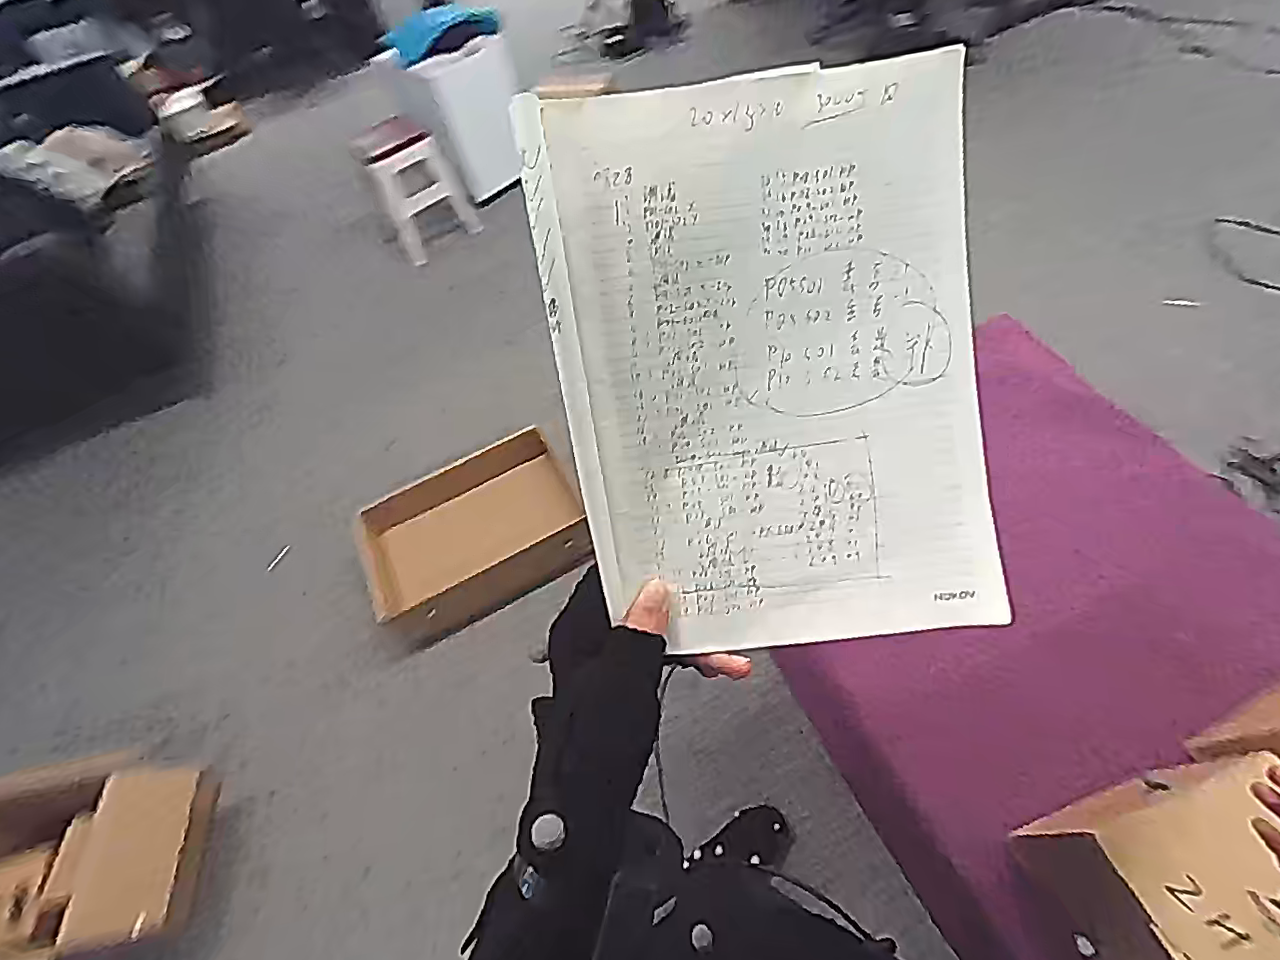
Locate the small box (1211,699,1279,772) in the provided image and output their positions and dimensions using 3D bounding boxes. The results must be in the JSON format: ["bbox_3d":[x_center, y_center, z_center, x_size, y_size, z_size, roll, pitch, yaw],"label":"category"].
[{"bbox_3d":[0.685,0.271,0.478,0.179,0.176,0.168,-24,55,-8],"label":"small box"}]

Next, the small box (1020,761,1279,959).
[{"bbox_3d":[0.475,0.358,0.450,0.179,0.176,0.168,-20,55,-4],"label":"small box"}]
